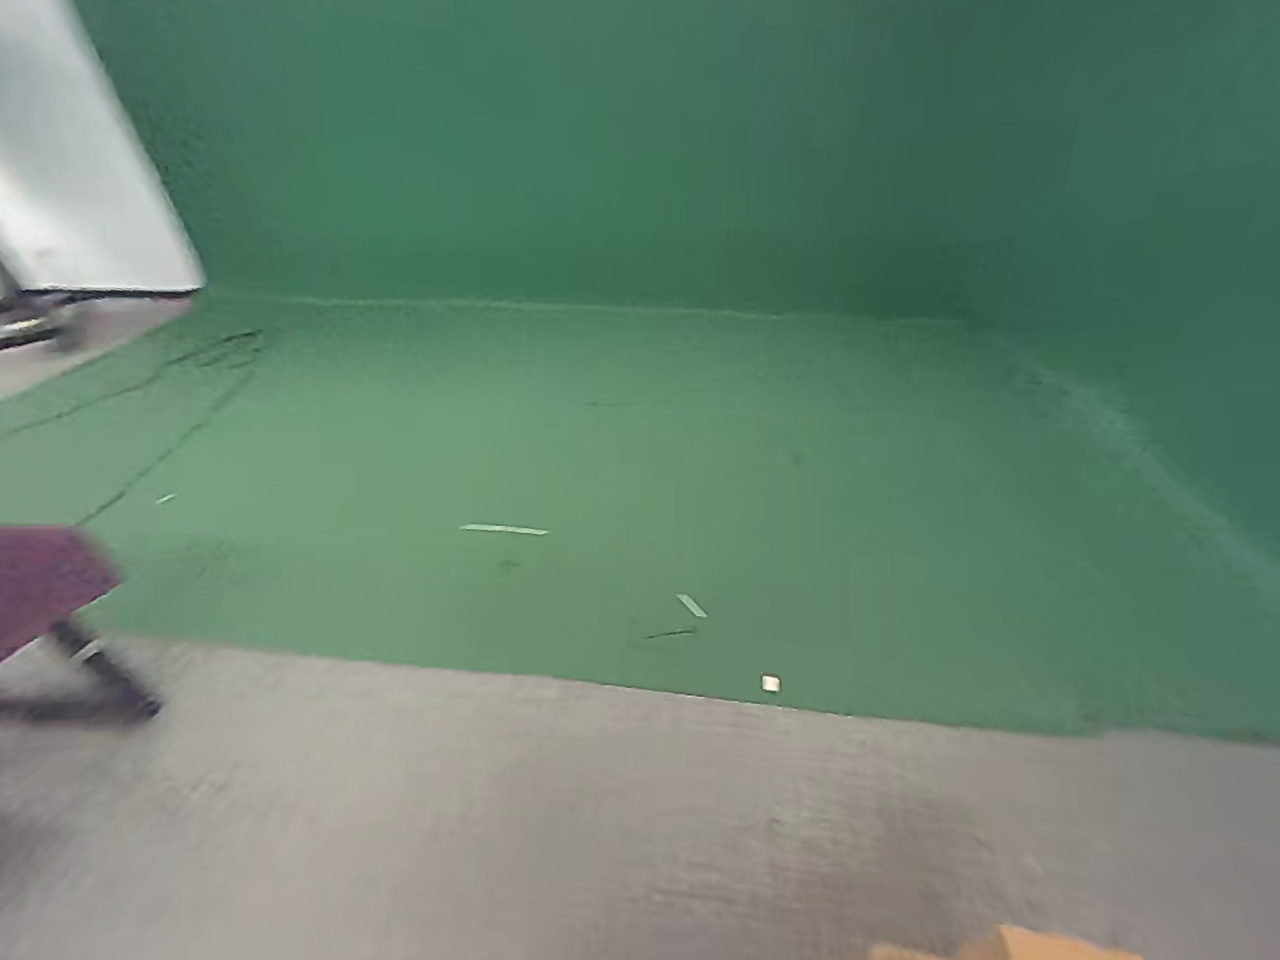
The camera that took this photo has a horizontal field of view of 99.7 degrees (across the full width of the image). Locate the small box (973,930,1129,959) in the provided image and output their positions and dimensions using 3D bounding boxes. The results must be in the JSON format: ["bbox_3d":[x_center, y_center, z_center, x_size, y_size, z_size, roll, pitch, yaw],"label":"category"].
[{"bbox_3d":[0.538,0.707,0.668,0.168,0.176,0.179,7,38,10],"label":"small box"}]
